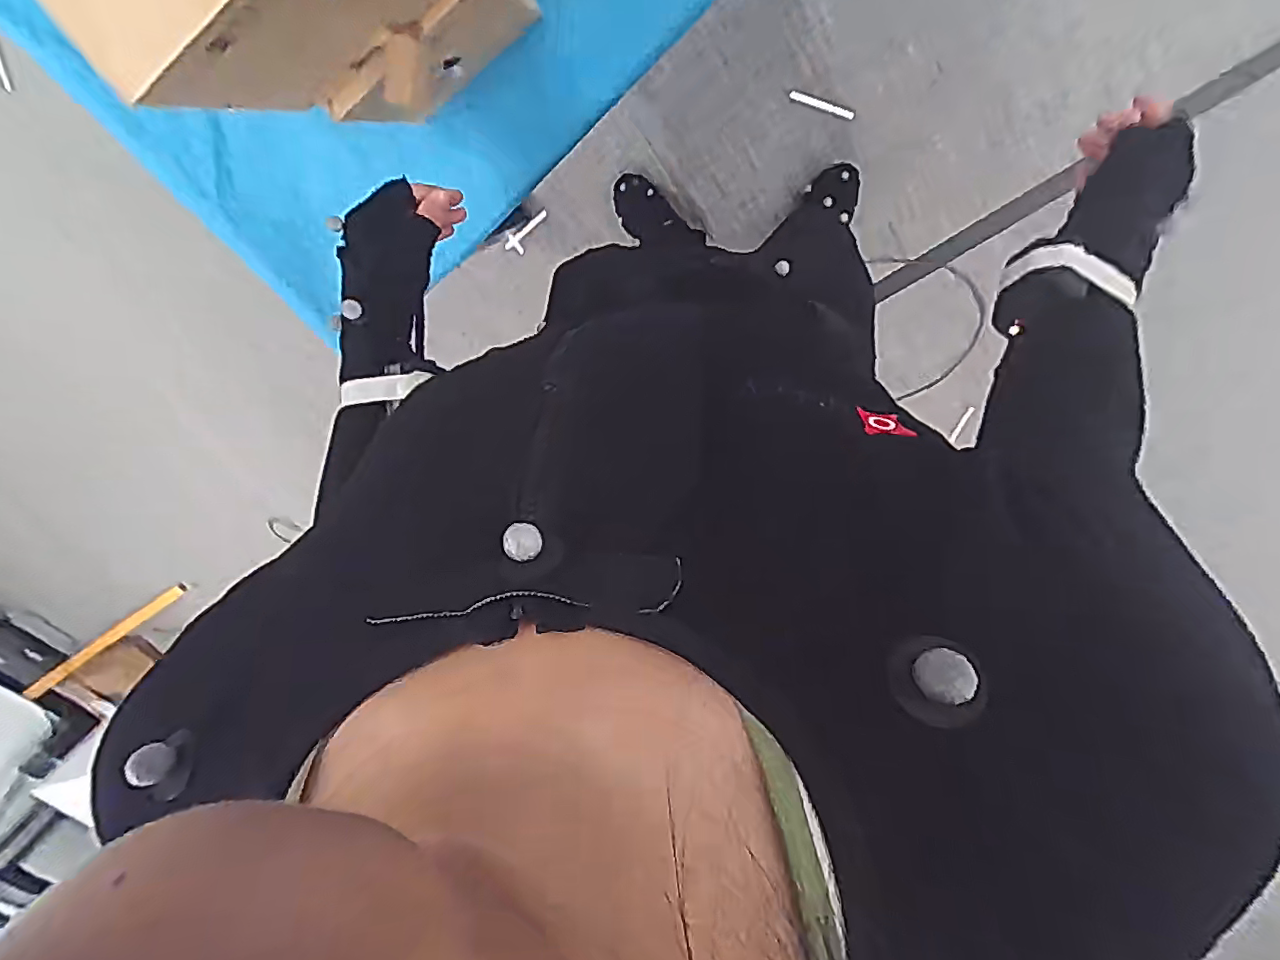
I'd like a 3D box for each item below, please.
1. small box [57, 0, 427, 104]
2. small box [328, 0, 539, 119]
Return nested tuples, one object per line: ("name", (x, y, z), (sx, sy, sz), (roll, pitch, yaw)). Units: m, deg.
("small box", (-0.248, -0.351, 0.306), (0.168, 0.176, 0.179), (-22, 119, 20))
("small box", (-0.216, -0.435, 0.444), (0.168, 0.176, 0.179), (-26, 116, 21))
